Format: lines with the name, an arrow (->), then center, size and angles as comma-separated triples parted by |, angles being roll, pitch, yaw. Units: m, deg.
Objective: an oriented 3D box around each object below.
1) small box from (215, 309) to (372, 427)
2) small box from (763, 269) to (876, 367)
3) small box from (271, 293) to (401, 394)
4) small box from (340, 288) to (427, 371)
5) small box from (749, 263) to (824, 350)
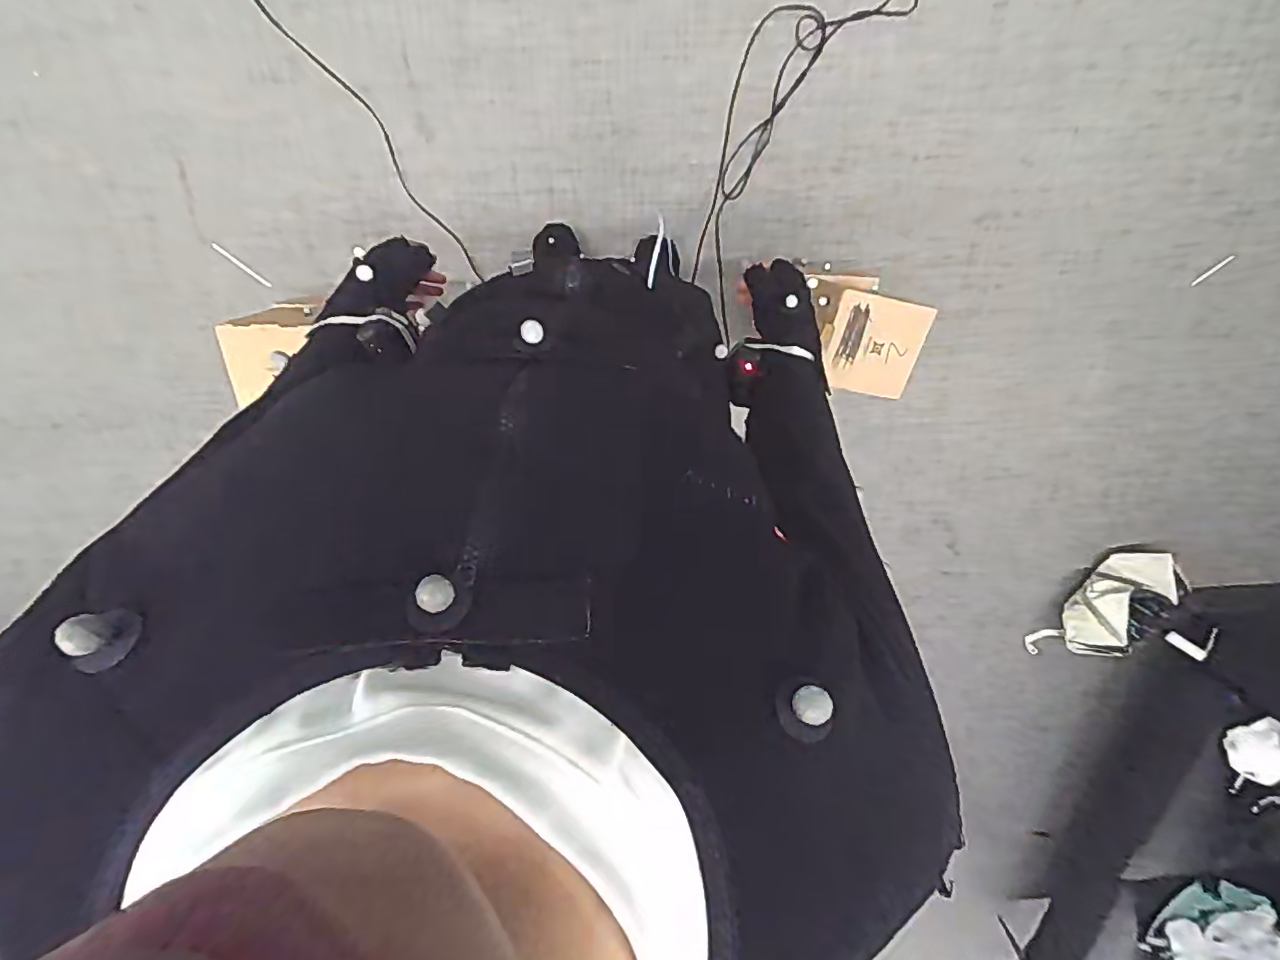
small box -> -0.615, -0.209, 0.989 | 0.168, 0.176, 0.179 | 1, 115, -2
small box -> 0.371, -0.350, 1.152 | 0.168, 0.176, 0.179 | 1, 117, -4
small box -> -0.620, -0.288, 1.131 | 0.168, 0.176, 0.179 | 1, 115, -2
small box -> -0.619, -0.360, 1.280 | 0.179, 0.176, 0.168 | 0, 116, -2
small box -> 0.367, -0.410, 1.287 | 0.168, 0.176, 0.179 | 3, 116, -5
